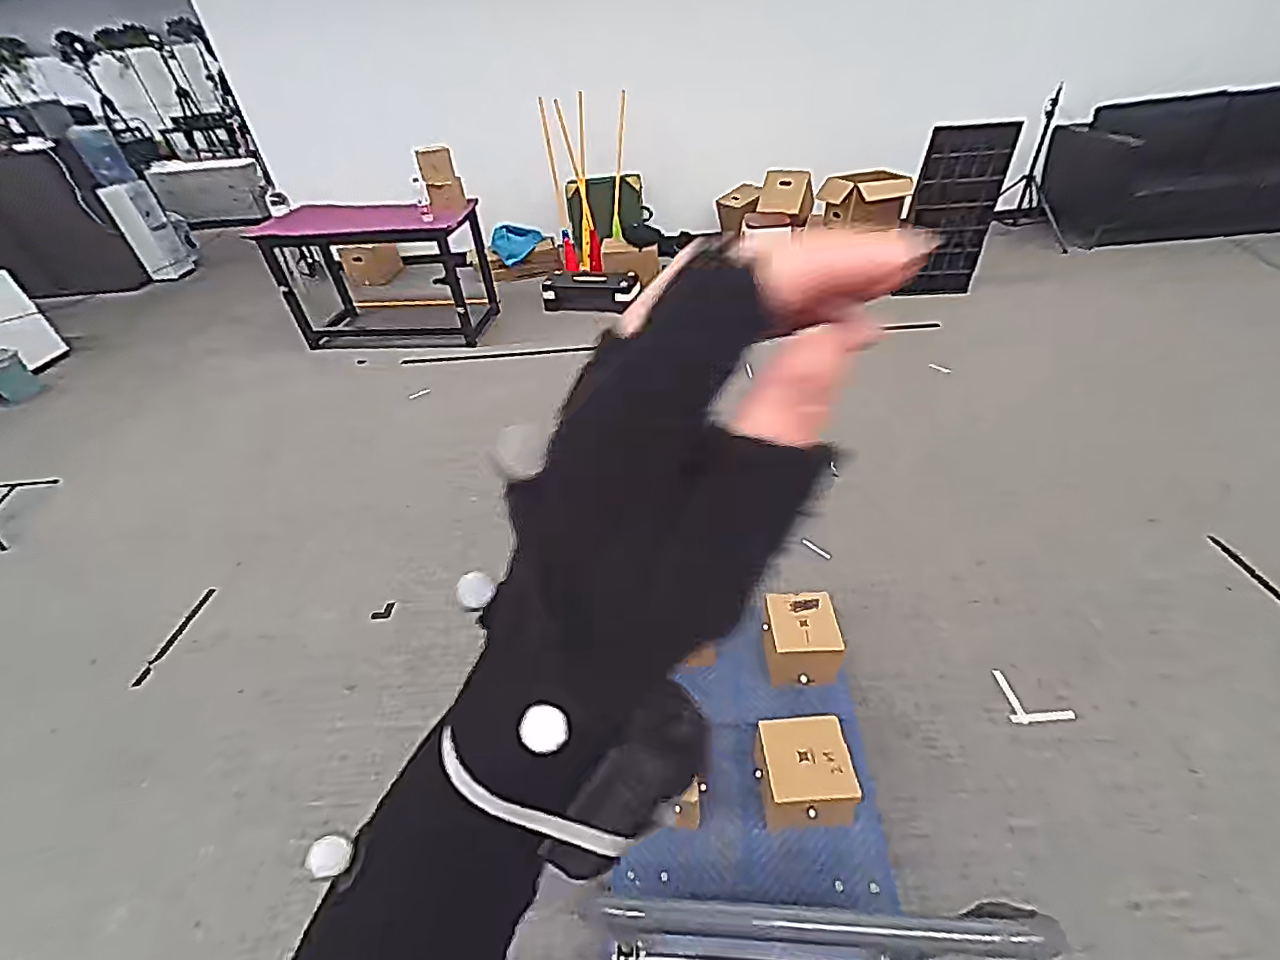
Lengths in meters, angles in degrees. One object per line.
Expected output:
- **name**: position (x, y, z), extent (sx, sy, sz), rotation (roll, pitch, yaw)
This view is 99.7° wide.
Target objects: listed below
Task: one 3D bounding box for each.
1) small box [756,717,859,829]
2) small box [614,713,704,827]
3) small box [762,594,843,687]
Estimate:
- **small box**: position (0.354, 0.642, 1.181), extent (0.179, 0.176, 0.168), rotation (-4, 40, 2)
- **small box**: position (0.049, 0.650, 1.209), extent (0.179, 0.176, 0.168), rotation (4, 40, 9)
- **small box**: position (0.421, 0.424, 1.431), extent (0.168, 0.176, 0.179), rotation (-3, 41, 4)
